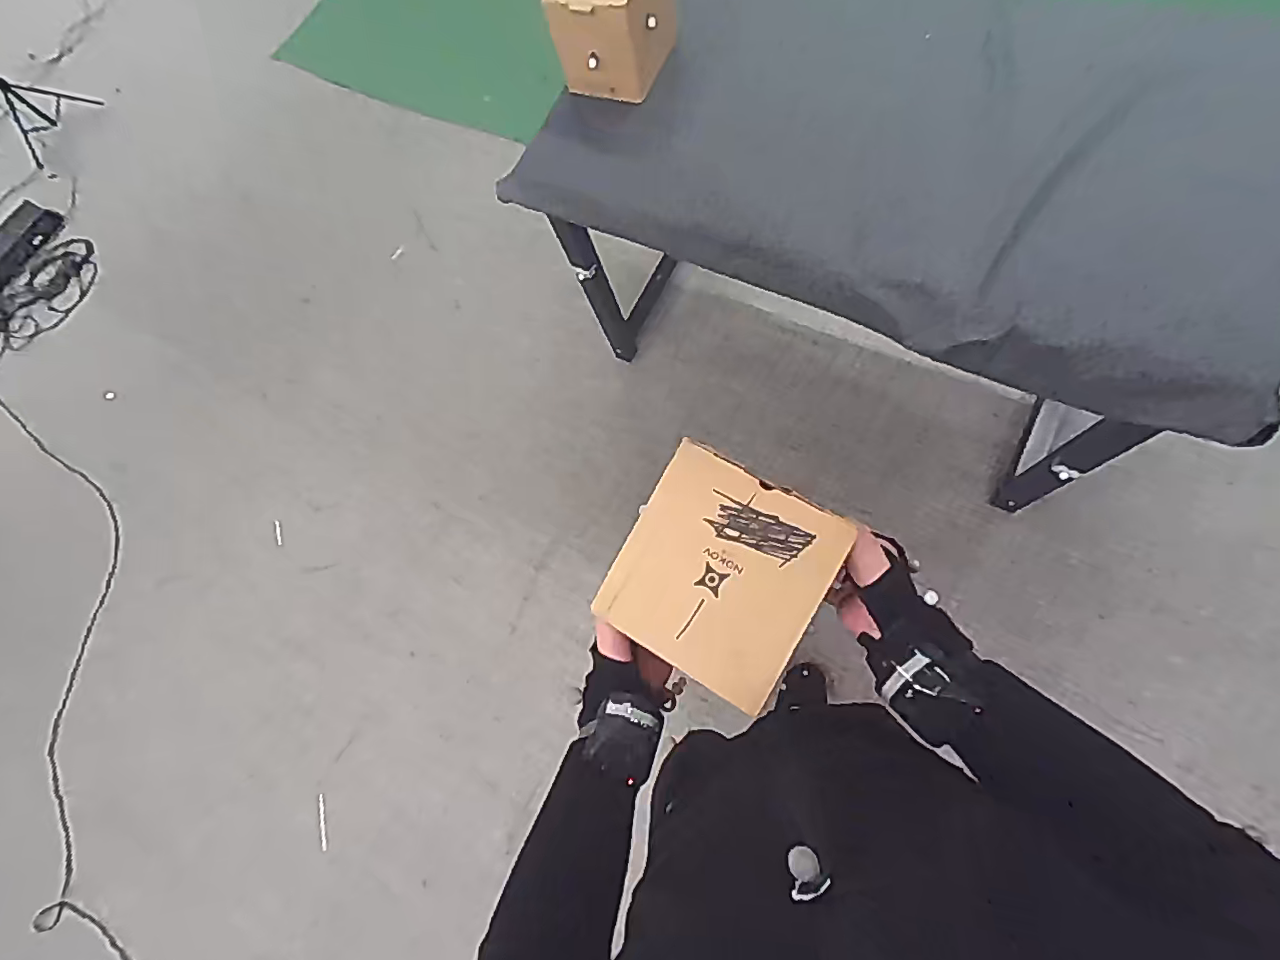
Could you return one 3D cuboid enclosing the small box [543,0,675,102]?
[{"bbox_3d":[-0.046,-0.841,0.994,0.168,0.176,0.179,21,79,17],"label":"small box"}]
